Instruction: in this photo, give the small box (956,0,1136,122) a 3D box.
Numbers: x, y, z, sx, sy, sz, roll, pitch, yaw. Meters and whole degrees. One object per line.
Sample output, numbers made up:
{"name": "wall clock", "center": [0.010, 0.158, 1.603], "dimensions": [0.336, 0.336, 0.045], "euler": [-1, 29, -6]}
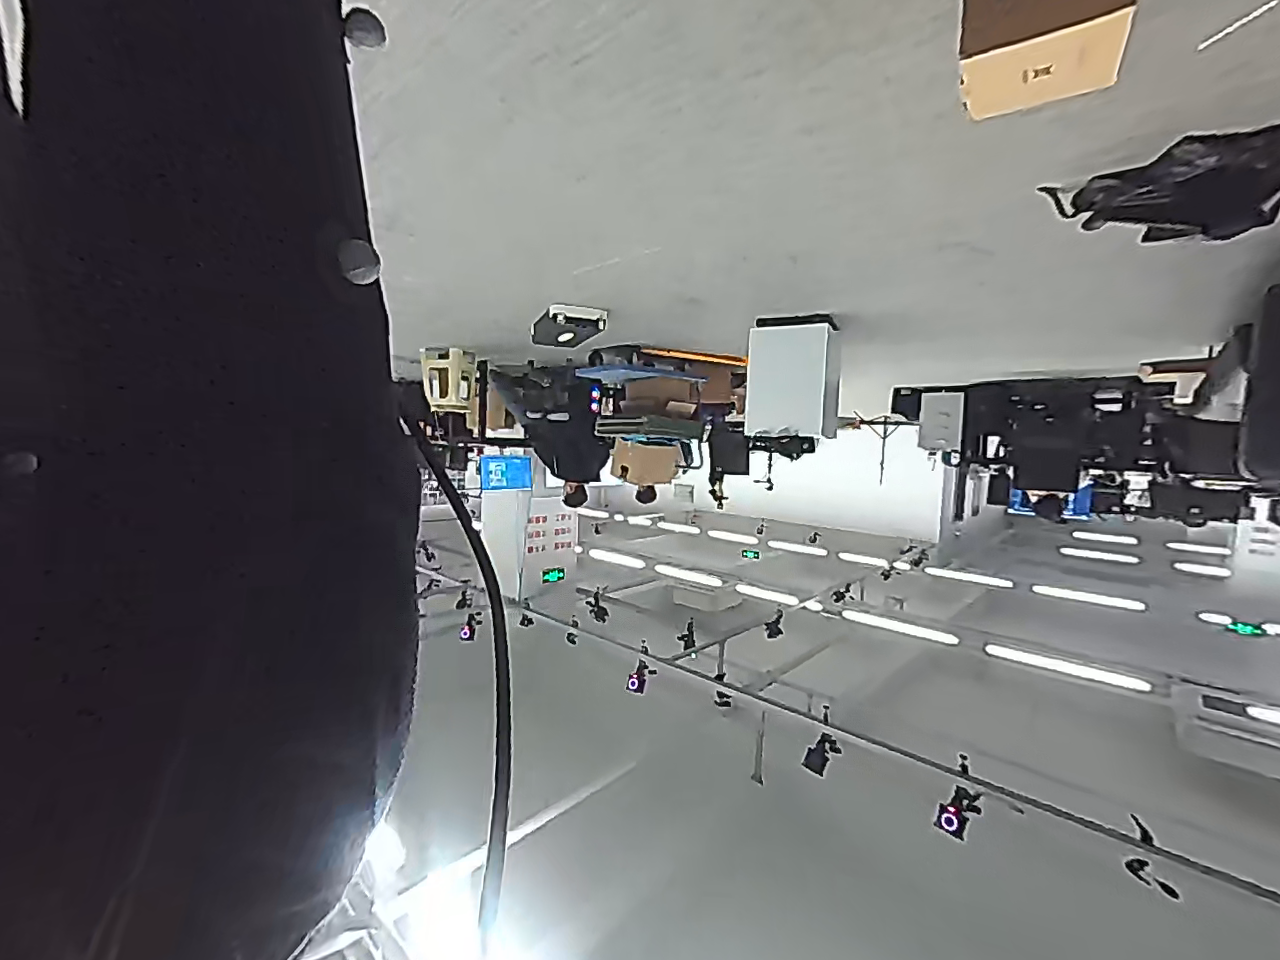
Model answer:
{"name": "small box", "center": [0.526, -0.619, 0.705], "dimensions": [0.179, 0.176, 0.168], "euler": [5, -174, 35]}
